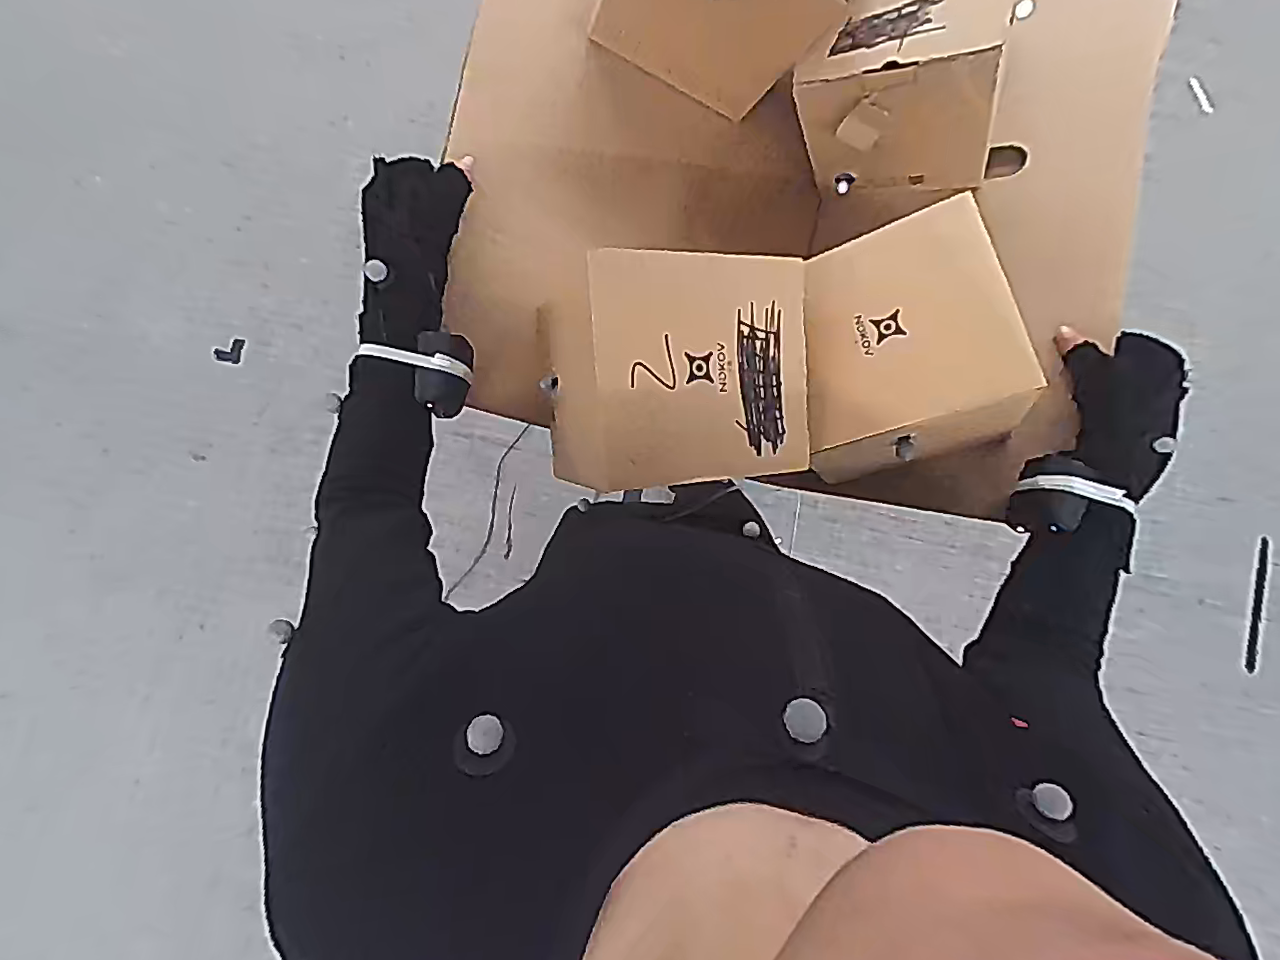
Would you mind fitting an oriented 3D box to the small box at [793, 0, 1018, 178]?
[{"bbox_3d":[0.266,-0.425,0.534,0.168,0.176,0.179,12,85,28],"label":"small box"}]
